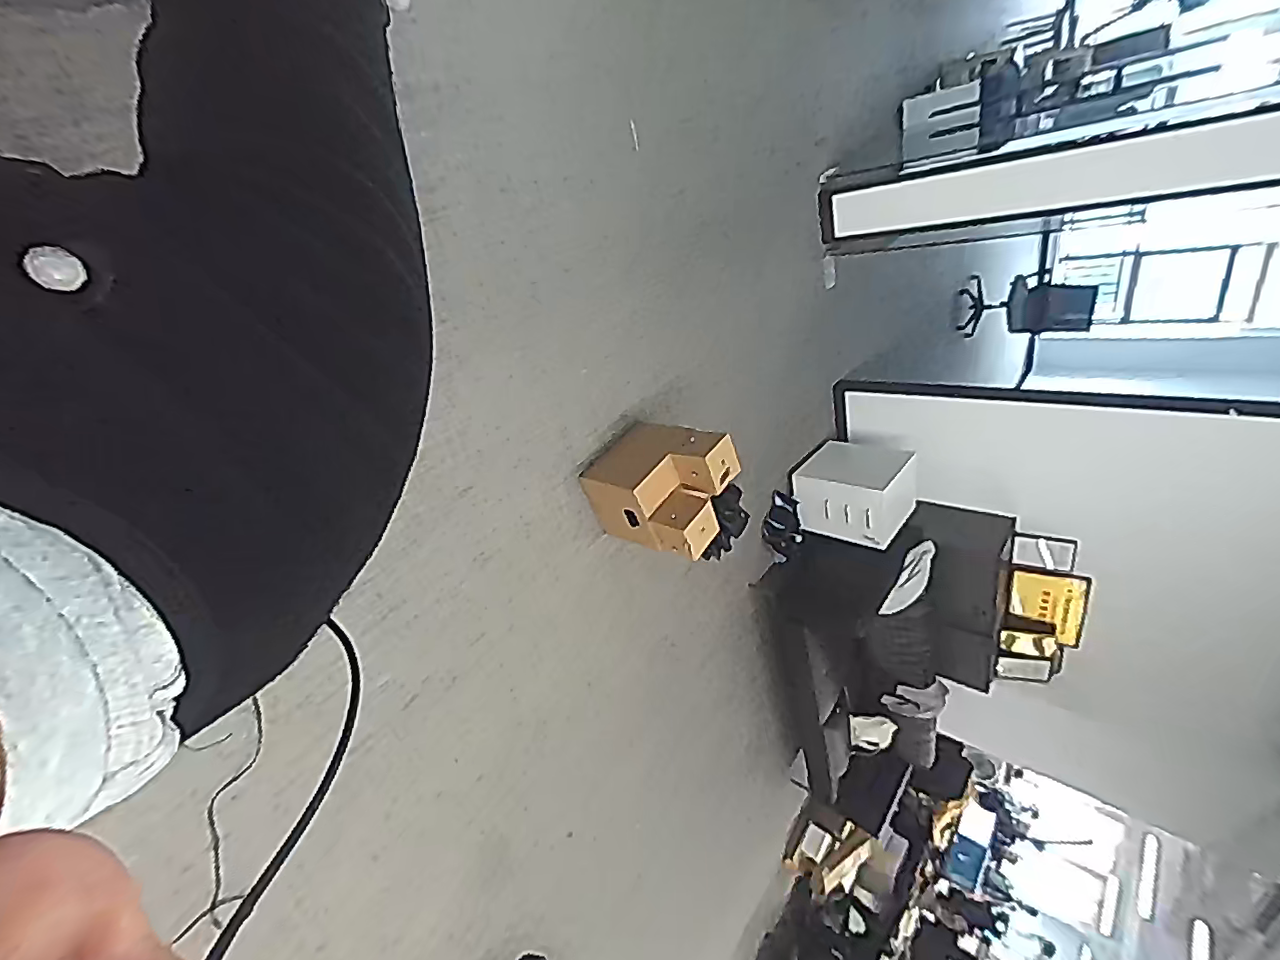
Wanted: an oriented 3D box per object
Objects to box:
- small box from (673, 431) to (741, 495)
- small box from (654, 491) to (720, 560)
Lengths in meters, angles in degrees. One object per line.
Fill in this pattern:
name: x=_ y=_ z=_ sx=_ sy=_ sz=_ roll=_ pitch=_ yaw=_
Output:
small box: x=0.254 y=-0.071 z=2.055 sx=0.168 sy=0.176 sz=0.179 roll=-44 pitch=126 yaw=-31
small box: x=0.171 y=0.165 z=2.024 sx=0.179 sy=0.176 sz=0.168 roll=-49 pitch=134 yaw=-29
